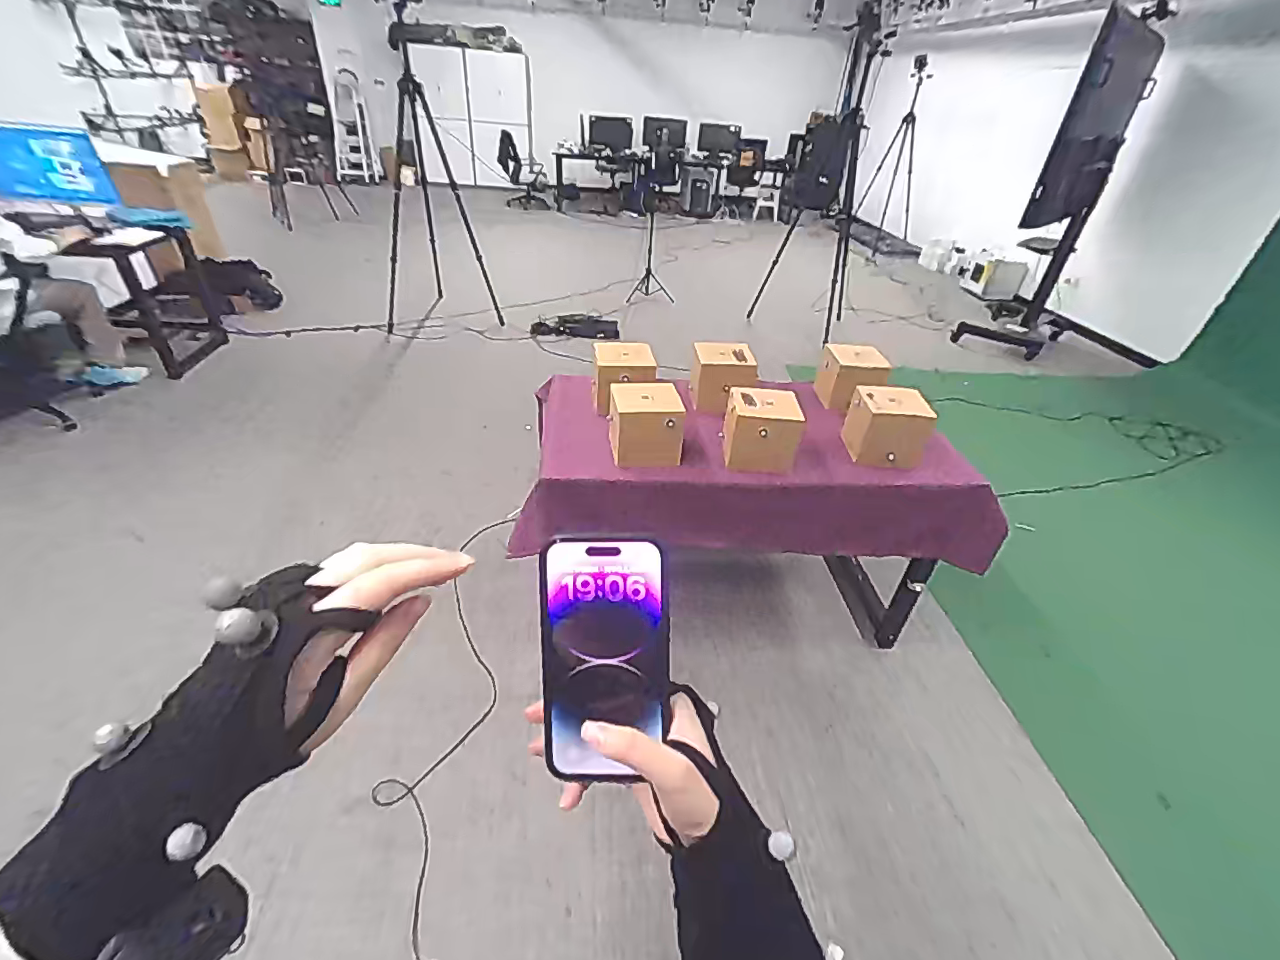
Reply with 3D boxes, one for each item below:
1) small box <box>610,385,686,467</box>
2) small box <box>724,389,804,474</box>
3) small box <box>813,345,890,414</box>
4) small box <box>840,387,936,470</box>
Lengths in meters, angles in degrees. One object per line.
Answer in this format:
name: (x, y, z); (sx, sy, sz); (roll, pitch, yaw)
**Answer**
small box: (0.014, -0.145, 1.454); (0.179, 0.176, 0.168); (-1, 36, -11)
small box: (0.327, -0.131, 1.471); (0.179, 0.176, 0.168); (5, 36, -1)
small box: (0.689, -0.328, 1.786); (0.168, 0.176, 0.179); (3, 36, -2)
small box: (0.692, -0.144, 1.531); (0.179, 0.176, 0.168); (5, 35, 0)
